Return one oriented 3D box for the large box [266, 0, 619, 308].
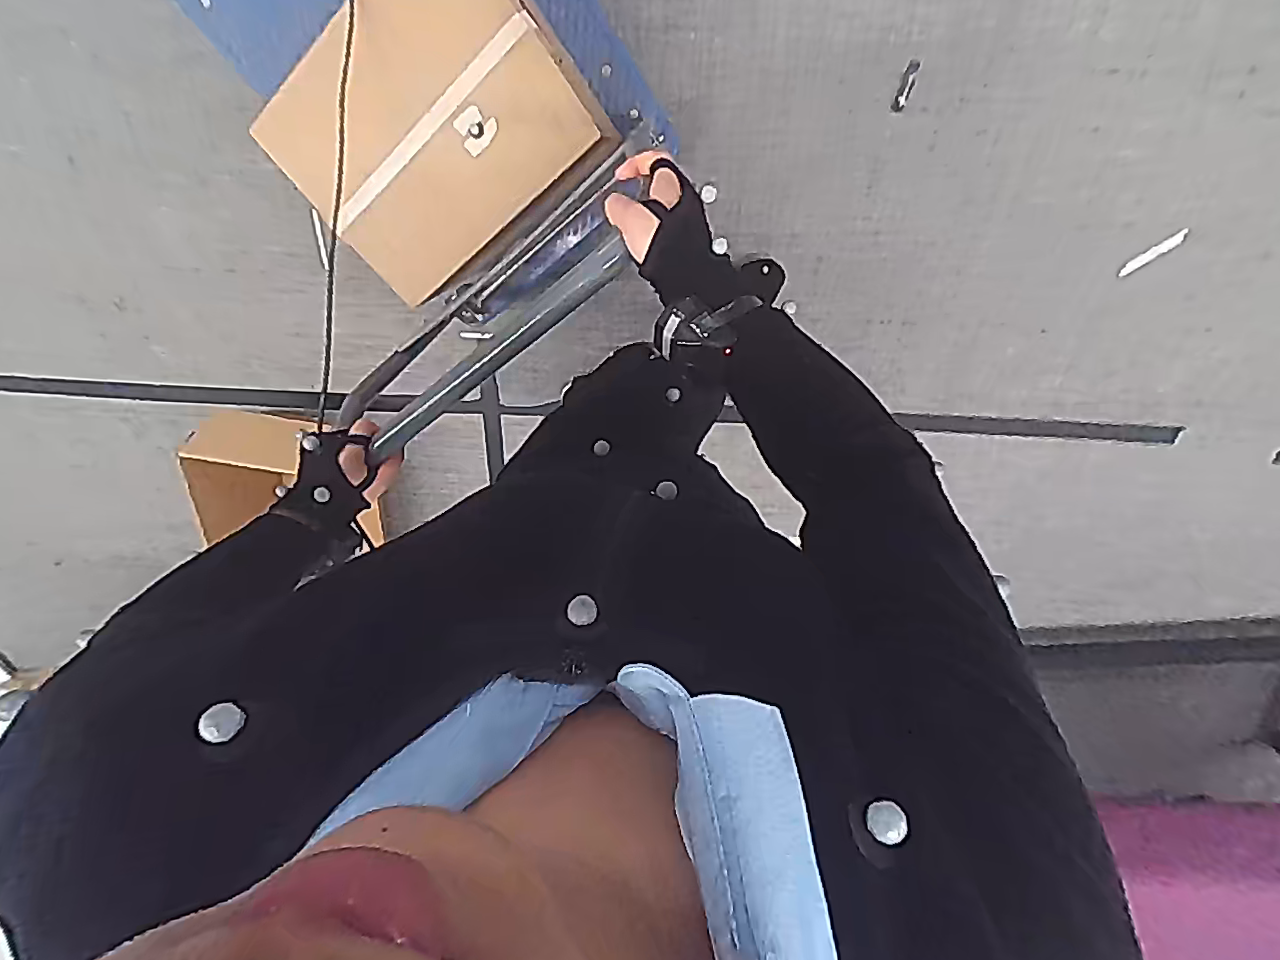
[{"bbox_3d":[-0.290,-0.559,0.896,0.408,0.320,0.320,-33,114,20],"label":"large box"}]
